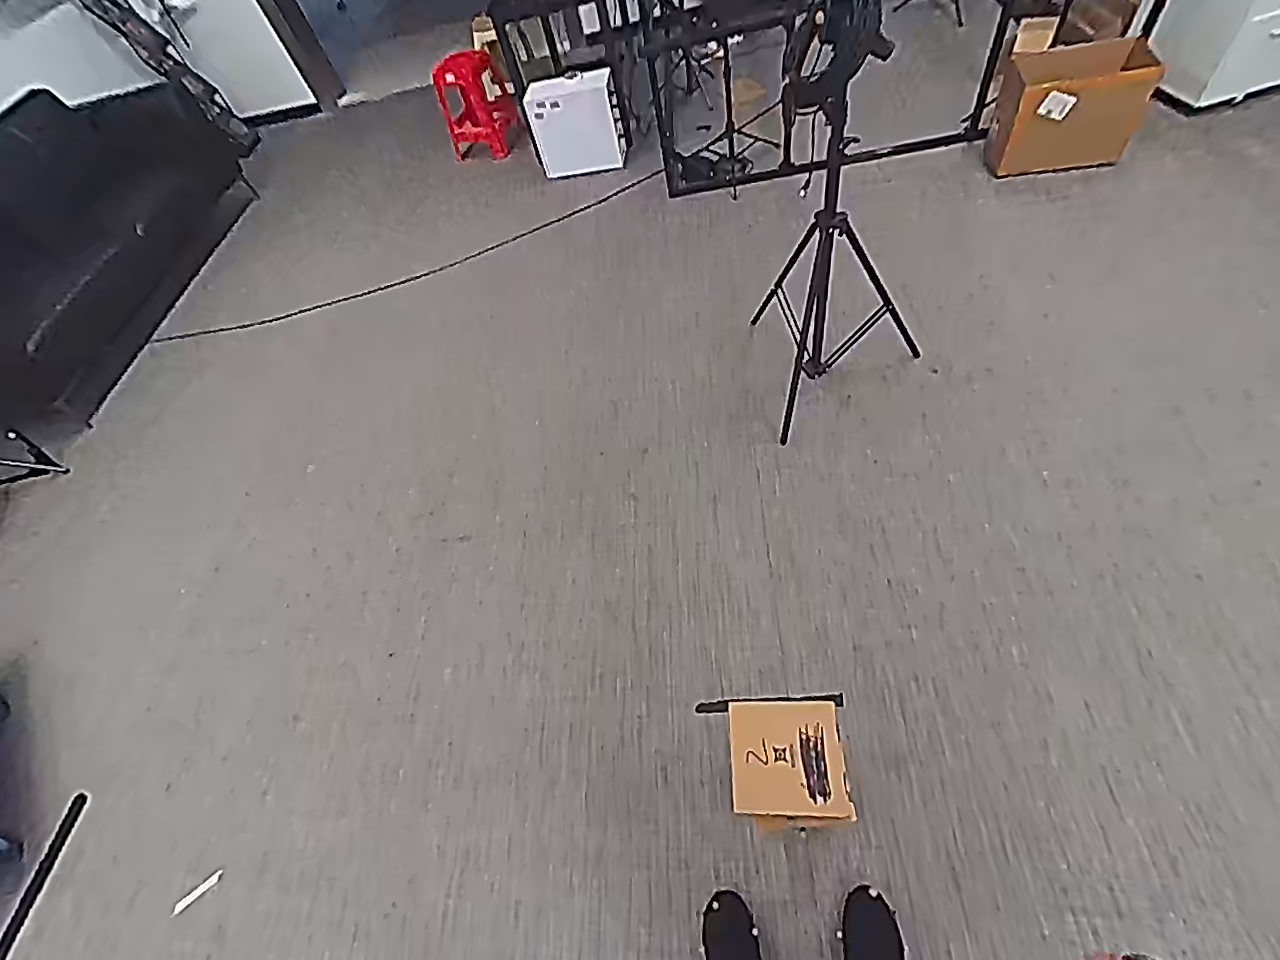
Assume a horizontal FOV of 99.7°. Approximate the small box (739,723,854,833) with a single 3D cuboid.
[{"bbox_3d":[0.296,0.582,1.051,0.179,0.176,0.168,-11,55,7],"label":"small box"}]
